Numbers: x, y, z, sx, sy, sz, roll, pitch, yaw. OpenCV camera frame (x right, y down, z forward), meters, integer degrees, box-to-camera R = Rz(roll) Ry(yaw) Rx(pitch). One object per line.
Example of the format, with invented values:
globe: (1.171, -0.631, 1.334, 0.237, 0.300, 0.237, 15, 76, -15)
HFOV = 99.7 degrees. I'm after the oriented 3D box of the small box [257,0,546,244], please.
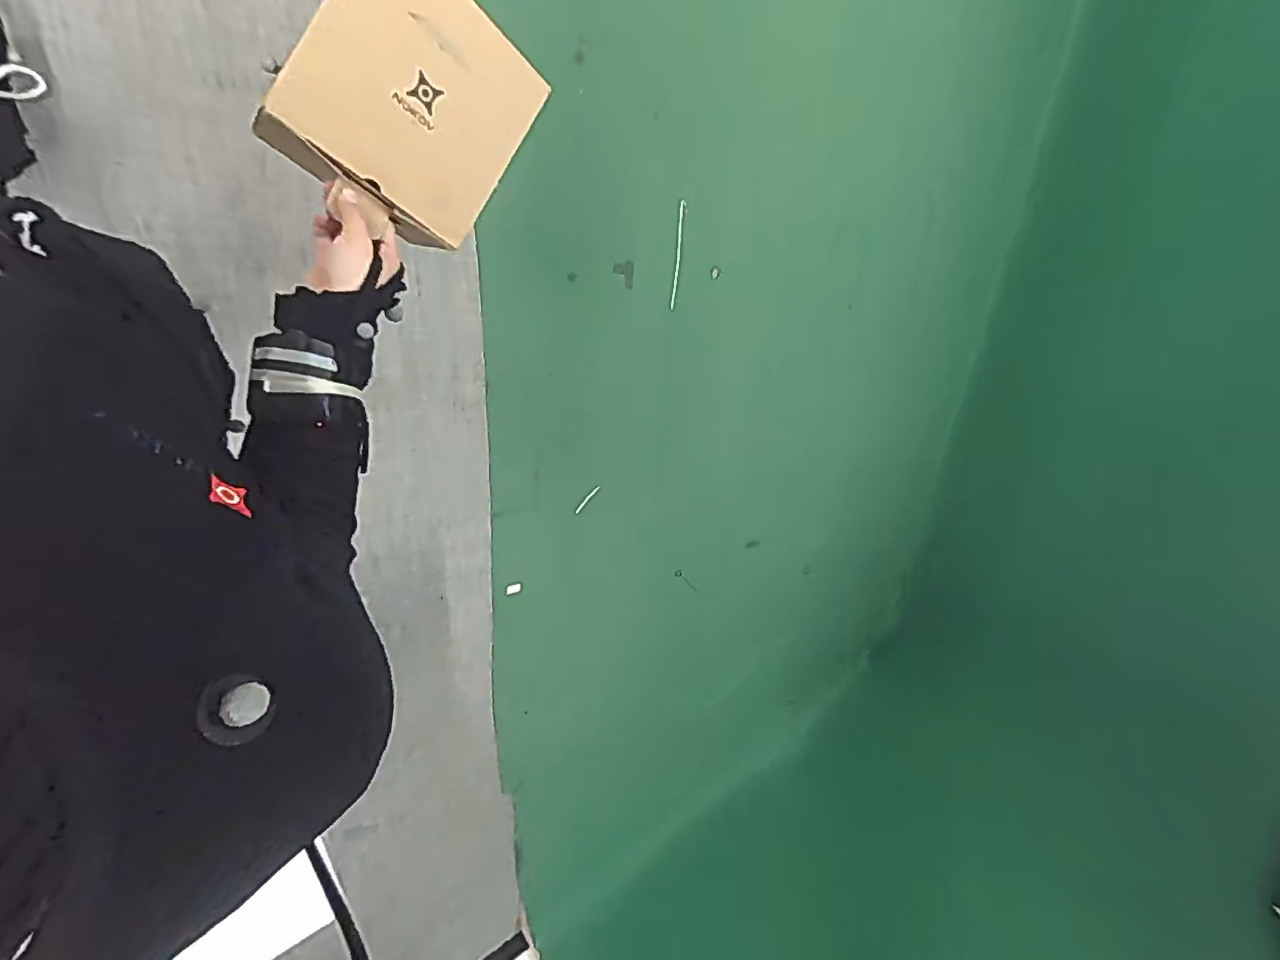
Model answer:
small box: (-0.224, -0.347, 0.500, 0.168, 0.176, 0.179, 29, 92, -44)
